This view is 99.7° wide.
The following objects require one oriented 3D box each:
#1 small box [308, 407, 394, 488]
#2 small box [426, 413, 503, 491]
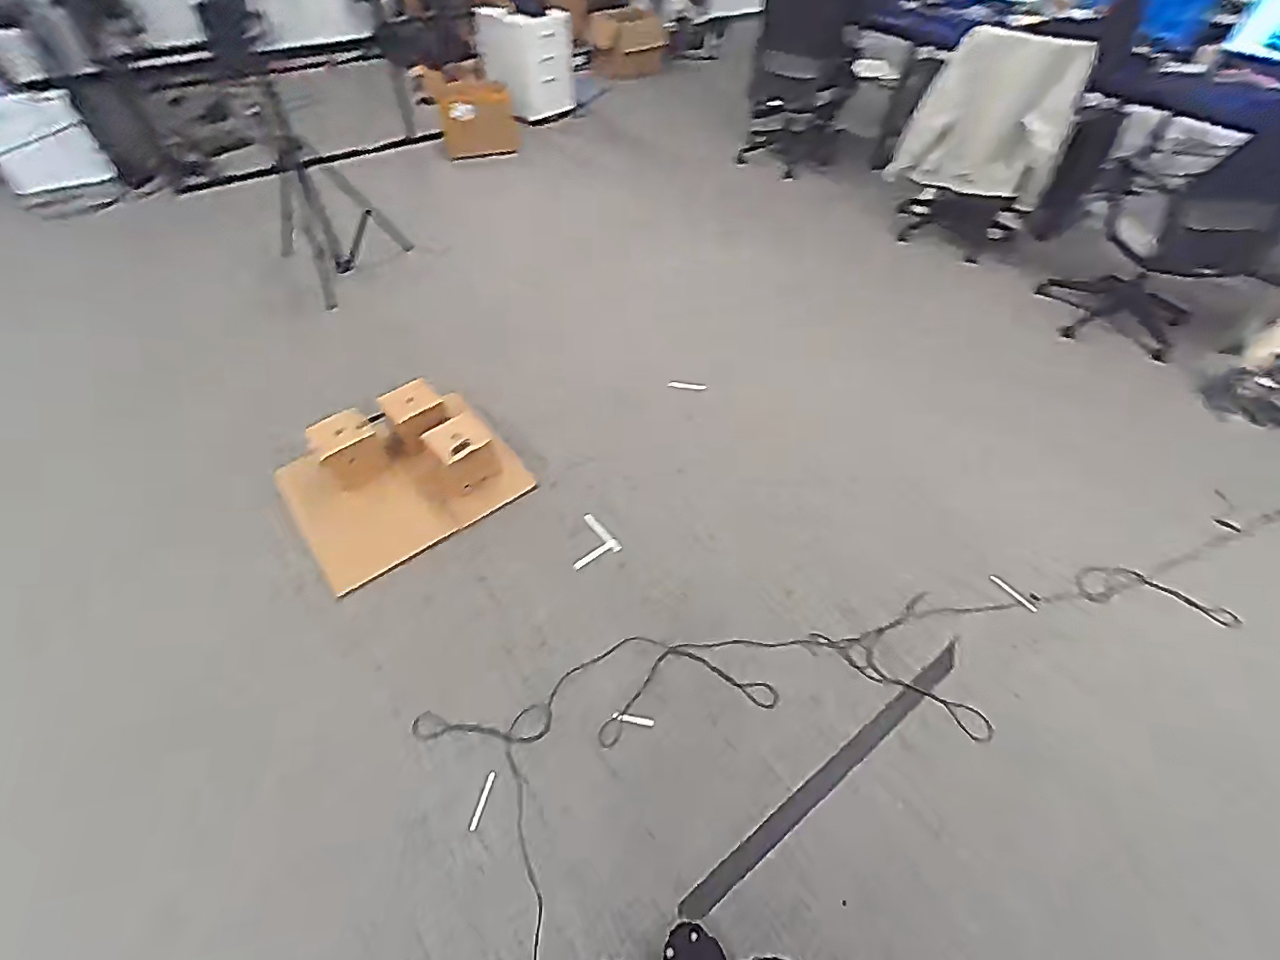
[{"bbox_3d":[-0.968,-0.105,1.824,0.179,0.176,0.168,-36,61,-25],"label":"small box"},{"bbox_3d":[-0.585,-0.087,1.824,0.168,0.176,0.179,-34,59,-26],"label":"small box"}]
